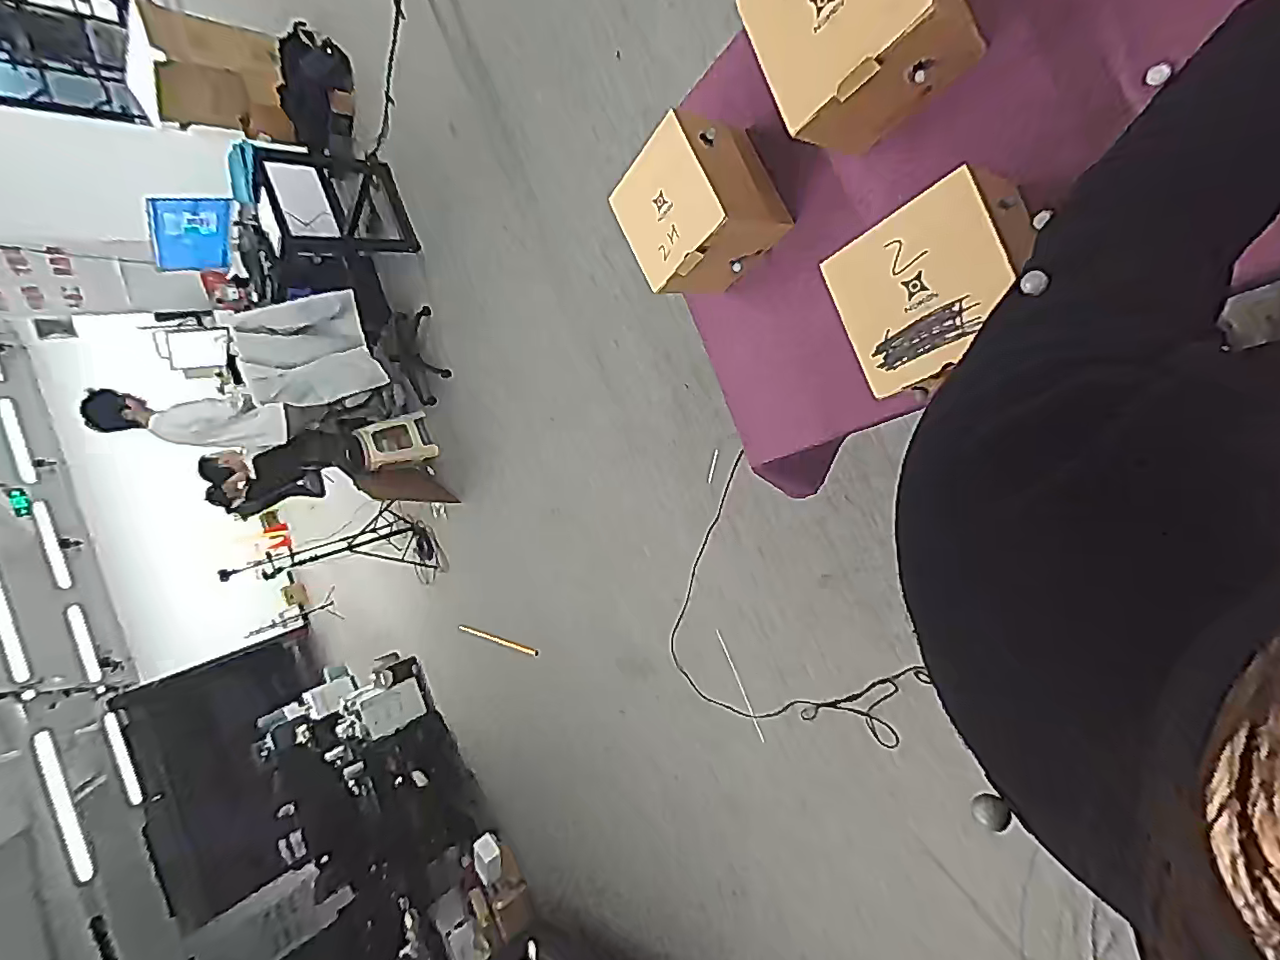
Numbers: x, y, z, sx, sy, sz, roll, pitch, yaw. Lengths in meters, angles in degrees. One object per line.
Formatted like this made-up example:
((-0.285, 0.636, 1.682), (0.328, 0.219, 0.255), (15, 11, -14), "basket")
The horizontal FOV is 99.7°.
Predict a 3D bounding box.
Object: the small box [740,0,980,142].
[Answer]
((0.251, -0.517, 0.612), (0.168, 0.176, 0.179), (-23, 87, 48), "small box")

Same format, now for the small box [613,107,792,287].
((0.095, -0.414, 0.823), (0.168, 0.176, 0.179), (-32, 81, 49), "small box")
